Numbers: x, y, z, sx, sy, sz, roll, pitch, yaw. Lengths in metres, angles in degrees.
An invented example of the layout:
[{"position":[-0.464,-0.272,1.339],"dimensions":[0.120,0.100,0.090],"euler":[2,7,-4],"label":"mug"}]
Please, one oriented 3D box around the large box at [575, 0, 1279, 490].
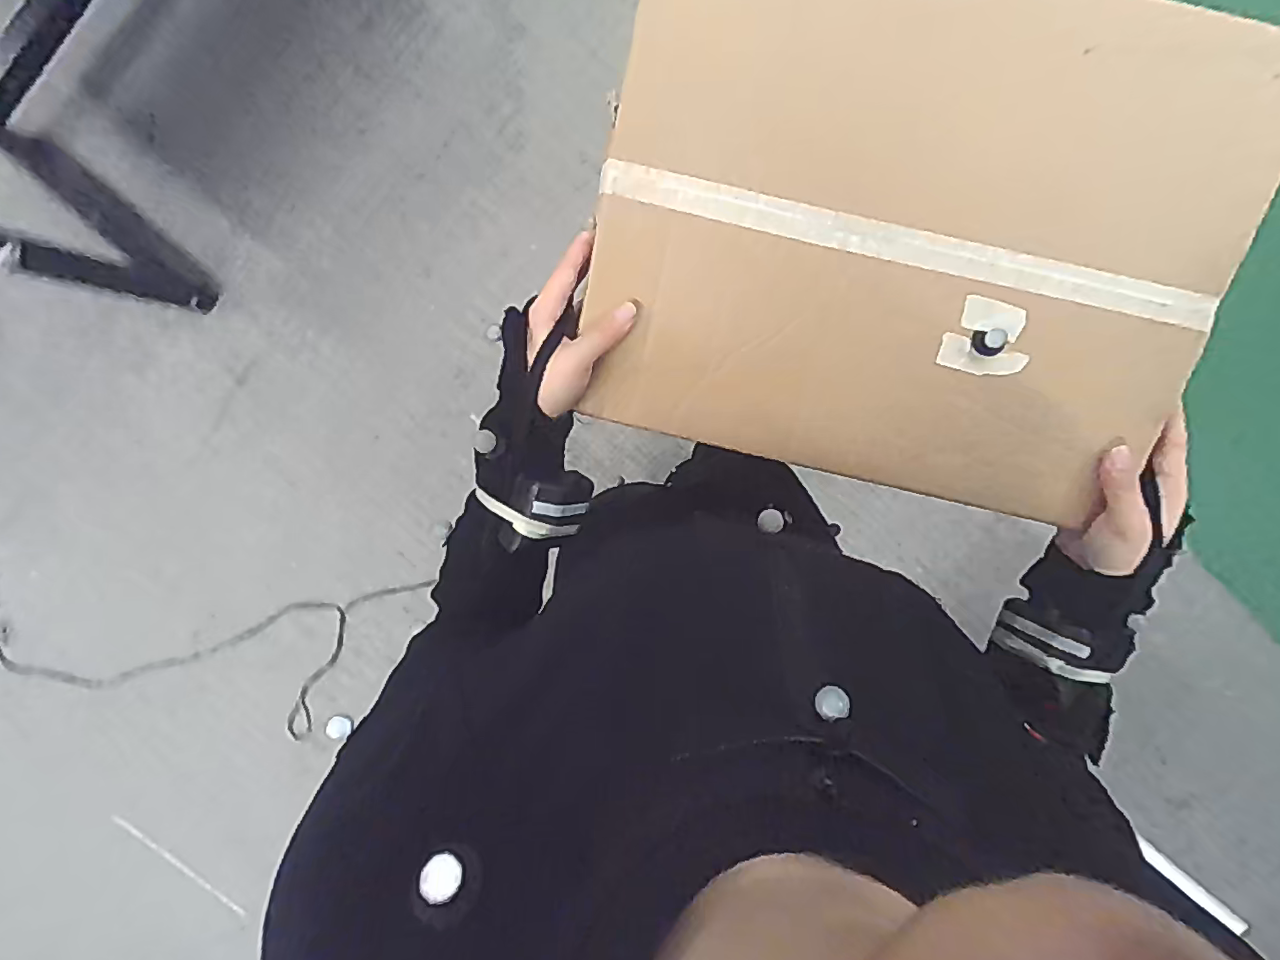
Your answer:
[{"position":[0.175,-0.208,0.502],"dimensions":[0.408,0.320,0.320],"euler":[11,106,-1],"label":"large box"}]
